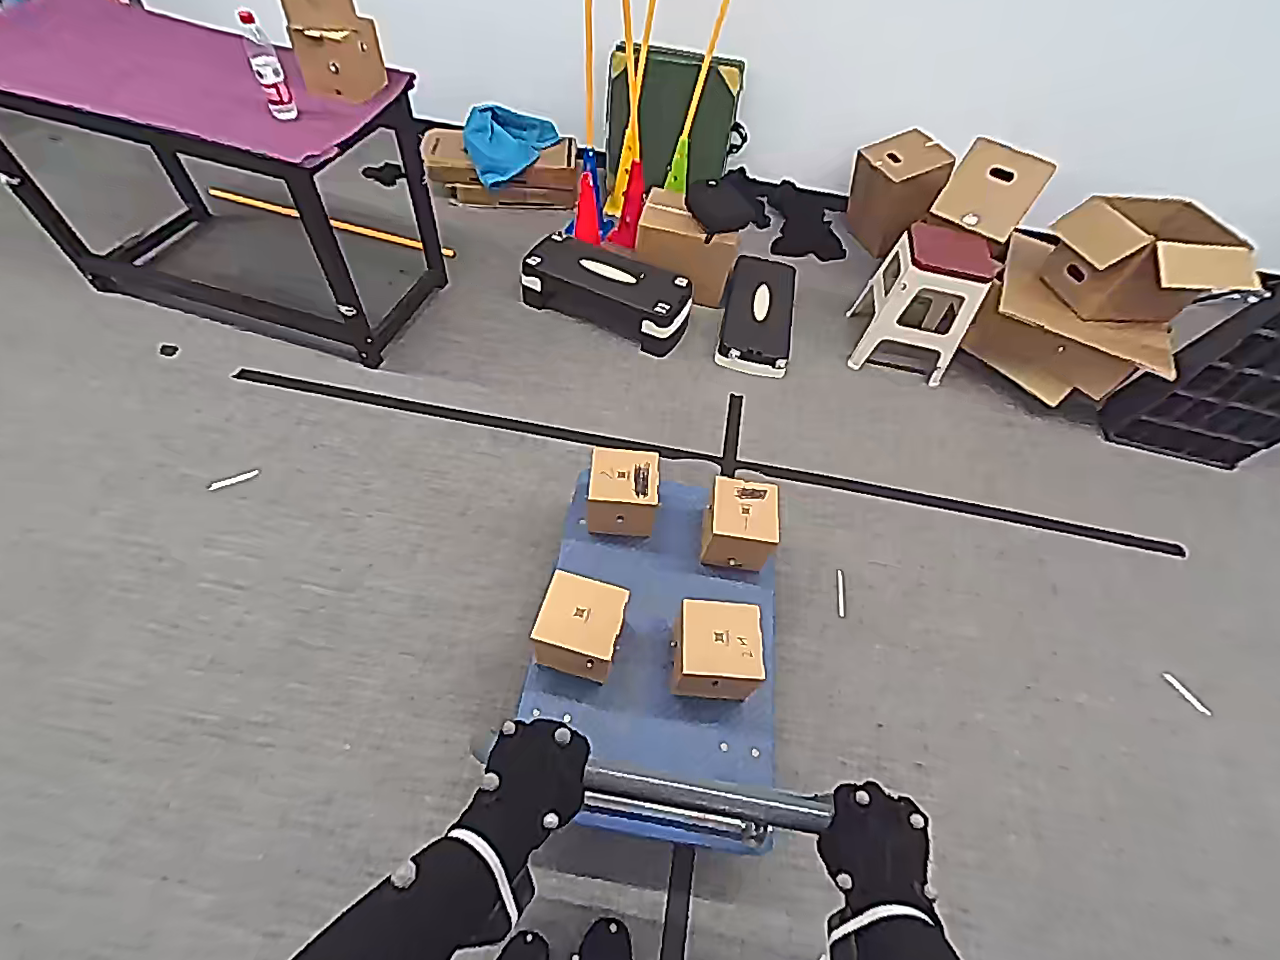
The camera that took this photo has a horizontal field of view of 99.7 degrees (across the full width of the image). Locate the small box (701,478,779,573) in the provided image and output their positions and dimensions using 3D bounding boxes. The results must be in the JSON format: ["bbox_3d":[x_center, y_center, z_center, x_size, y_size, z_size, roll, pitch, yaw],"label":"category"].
[{"bbox_3d":[0.261,0.122,1.429,0.168,0.176,0.179,9,56,0],"label":"small box"}]

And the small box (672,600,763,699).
[{"bbox_3d":[0.169,0.389,1.230,0.179,0.176,0.168,6,55,-3],"label":"small box"}]

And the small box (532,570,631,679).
[{"bbox_3d":[-0.133,0.334,1.232,0.179,0.176,0.168,16,54,2],"label":"small box"}]
